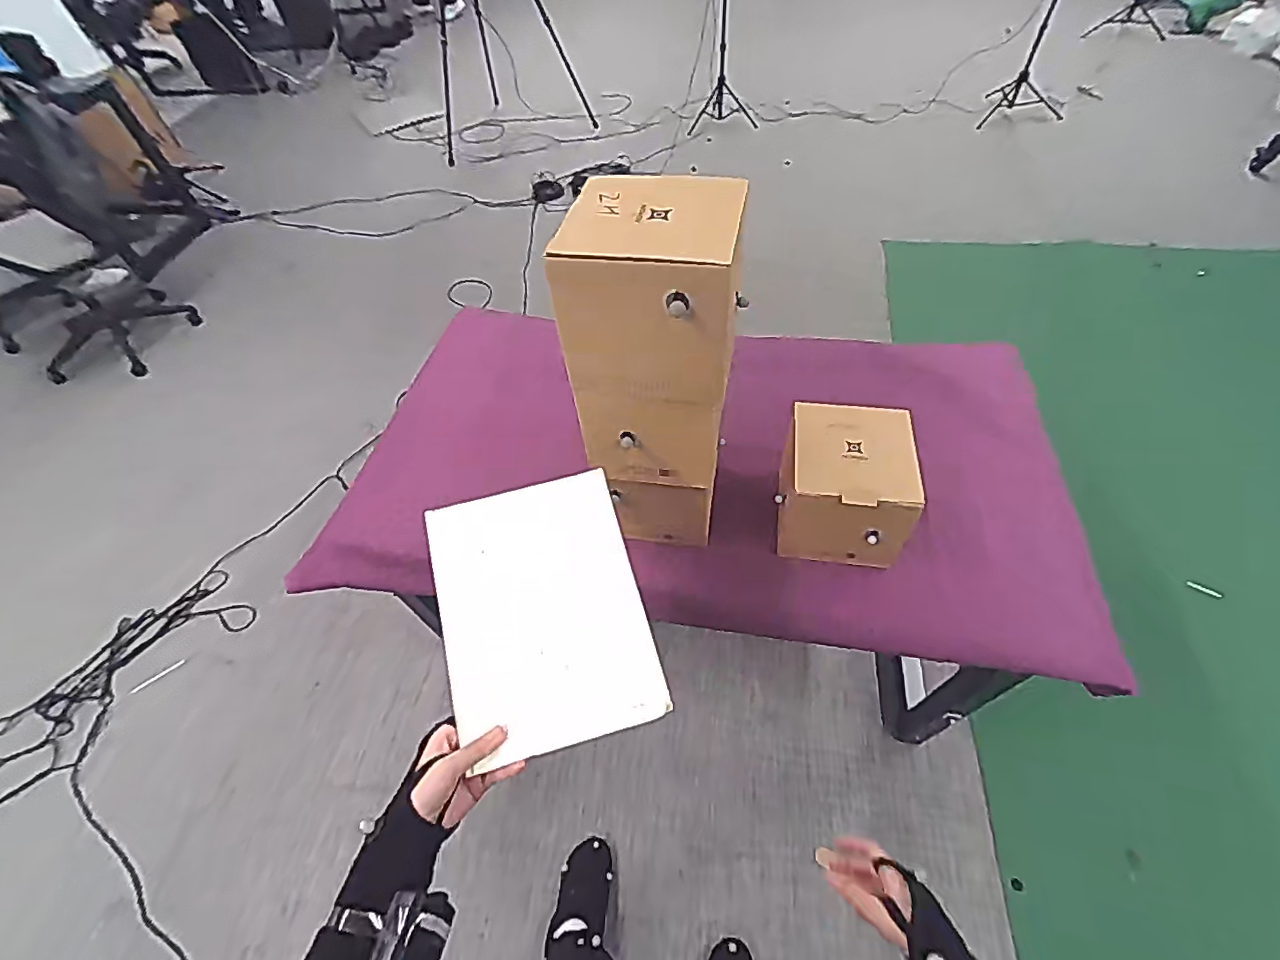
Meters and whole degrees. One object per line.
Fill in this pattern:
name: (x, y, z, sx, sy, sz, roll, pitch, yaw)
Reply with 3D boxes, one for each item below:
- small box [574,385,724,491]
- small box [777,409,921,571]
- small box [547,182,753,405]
small box: (0.024, -0.104, 0.728, 0.168, 0.176, 0.179, 6, 52, 10)
small box: (0.303, 0.018, 0.817, 0.168, 0.176, 0.179, 6, 52, 9)
small box: (0.020, -0.201, 0.593, 0.179, 0.176, 0.168, 8, 52, 11)
